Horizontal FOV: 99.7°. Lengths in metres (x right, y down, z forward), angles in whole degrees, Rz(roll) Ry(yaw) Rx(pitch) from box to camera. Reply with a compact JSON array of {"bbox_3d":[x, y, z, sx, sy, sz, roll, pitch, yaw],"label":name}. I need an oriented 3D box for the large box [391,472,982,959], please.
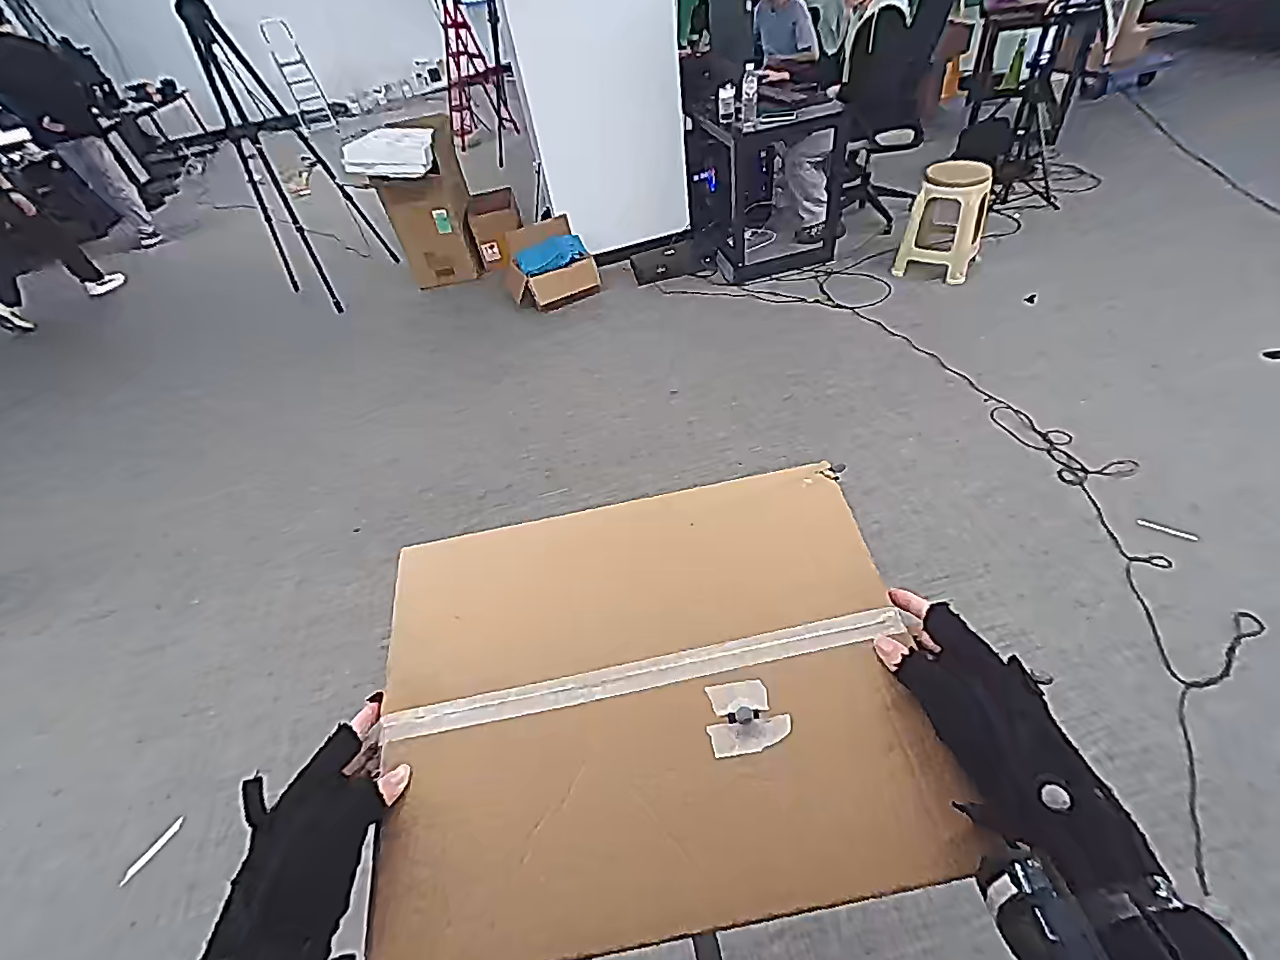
[{"bbox_3d":[0.021,0.238,0.554,0.408,0.320,0.320,-12,56,0],"label":"large box"}]
